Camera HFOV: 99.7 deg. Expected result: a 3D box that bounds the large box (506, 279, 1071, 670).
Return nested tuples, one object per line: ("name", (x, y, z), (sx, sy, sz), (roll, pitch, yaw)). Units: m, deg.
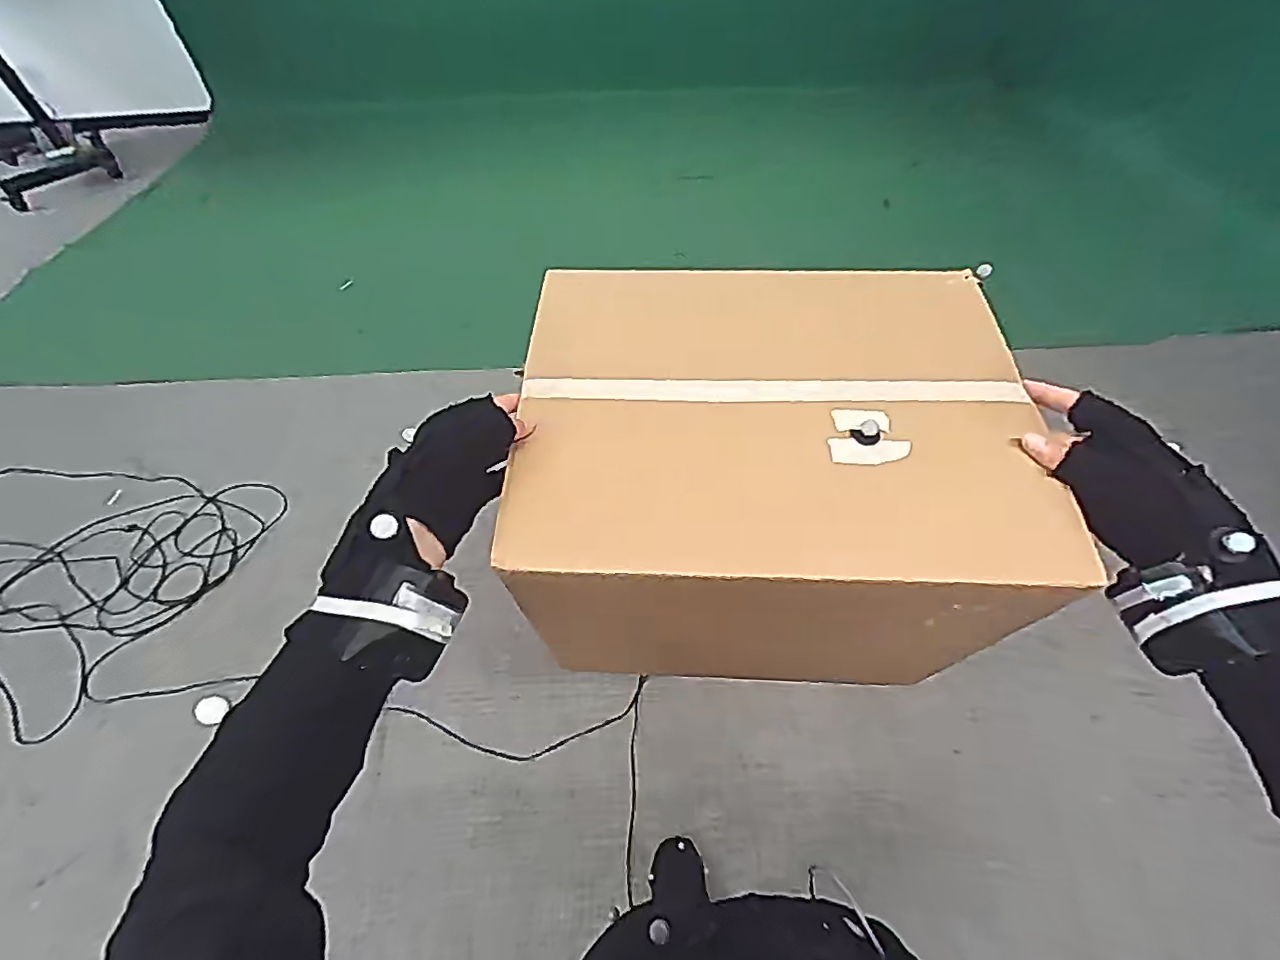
("large box", (0.106, 0.012, 0.580), (0.408, 0.320, 0.320), (1, 59, 3))
